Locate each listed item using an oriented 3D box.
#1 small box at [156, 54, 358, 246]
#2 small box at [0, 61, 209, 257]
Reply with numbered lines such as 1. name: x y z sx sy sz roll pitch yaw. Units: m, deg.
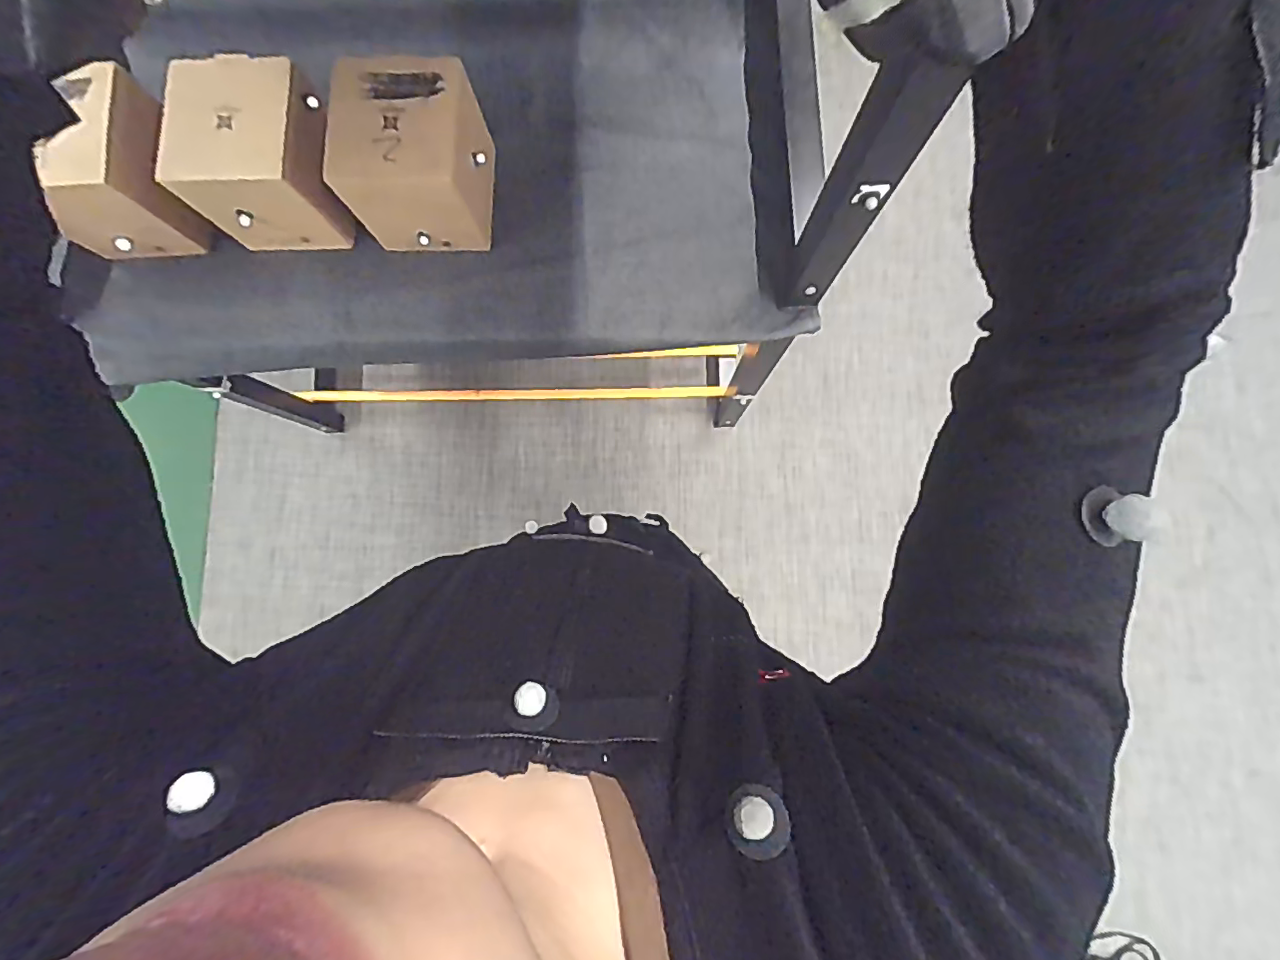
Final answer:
1. small box: -0.526 -0.452 0.768 0.168 0.176 0.179 0 82 1
2. small box: -0.753 -0.444 0.768 0.168 0.176 0.179 -3 83 1
